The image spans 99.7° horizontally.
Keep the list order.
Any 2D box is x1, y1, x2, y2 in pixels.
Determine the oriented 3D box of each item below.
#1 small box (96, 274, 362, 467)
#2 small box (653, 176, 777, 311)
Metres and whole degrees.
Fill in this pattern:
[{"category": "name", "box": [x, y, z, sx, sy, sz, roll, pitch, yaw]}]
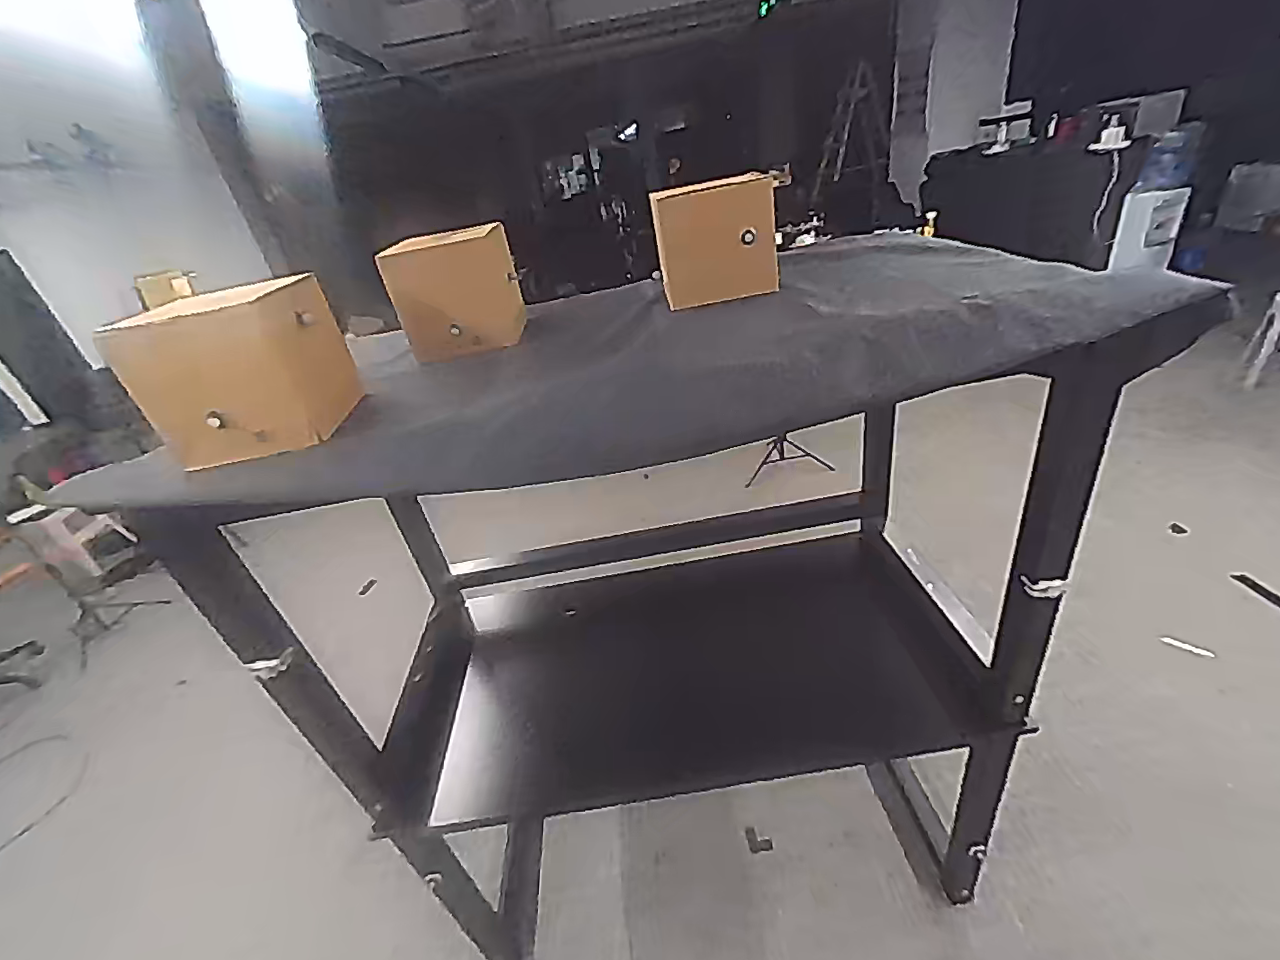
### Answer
[{"category": "small box", "box": [-0.468, -0.137, 0.658, 0.168, 0.176, 0.179, -12, 31, -2]}, {"category": "small box", "box": [0.121, -0.392, 0.893, 0.179, 0.176, 0.168, -9, 30, 3]}]
